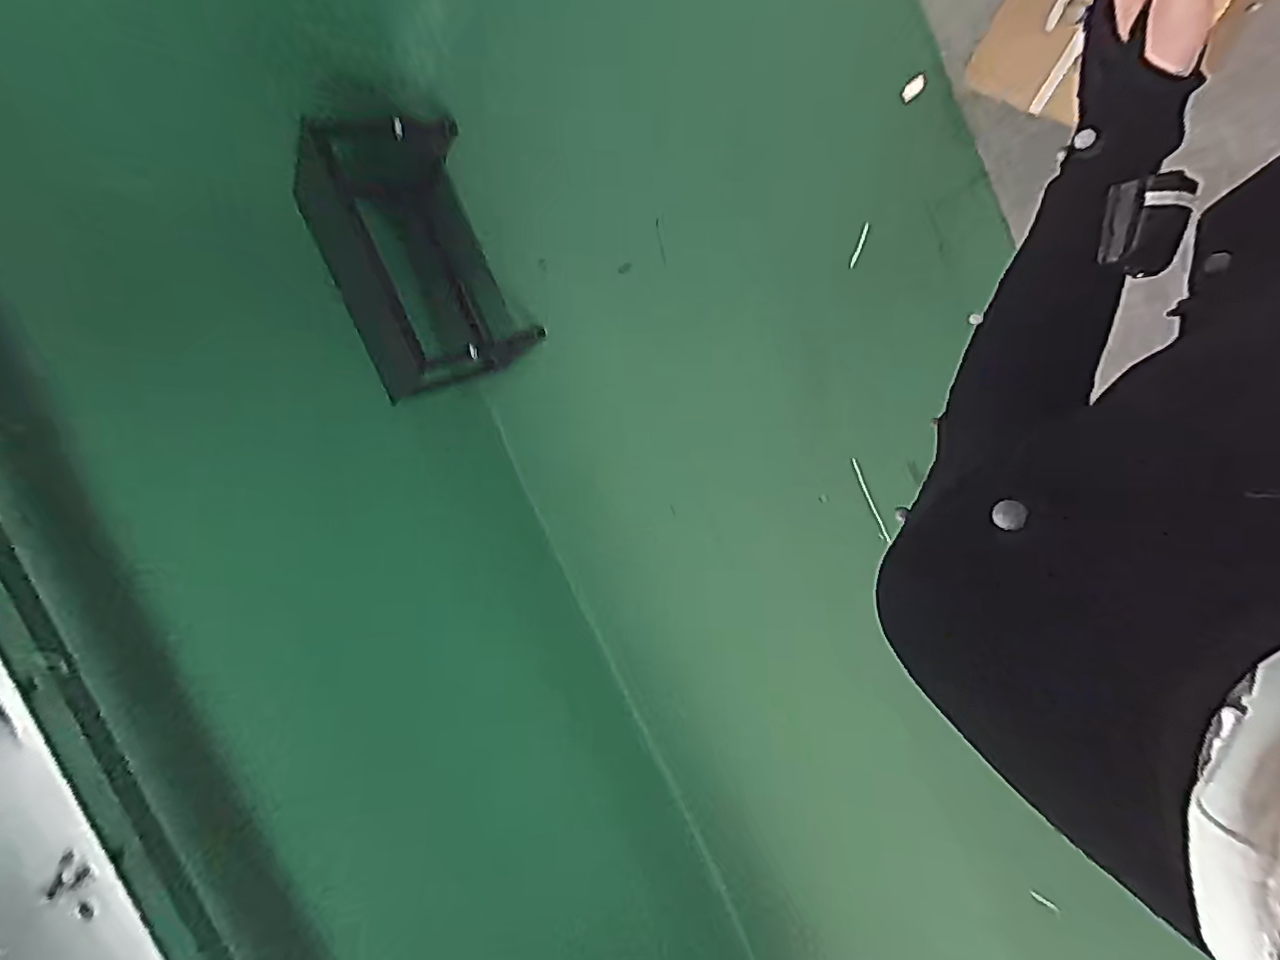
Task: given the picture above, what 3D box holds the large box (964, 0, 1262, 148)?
[{"bbox_3d":[0.873,-0.856,0.935,0.320,0.320,0.408,45,142,25],"label":"large box"}]
